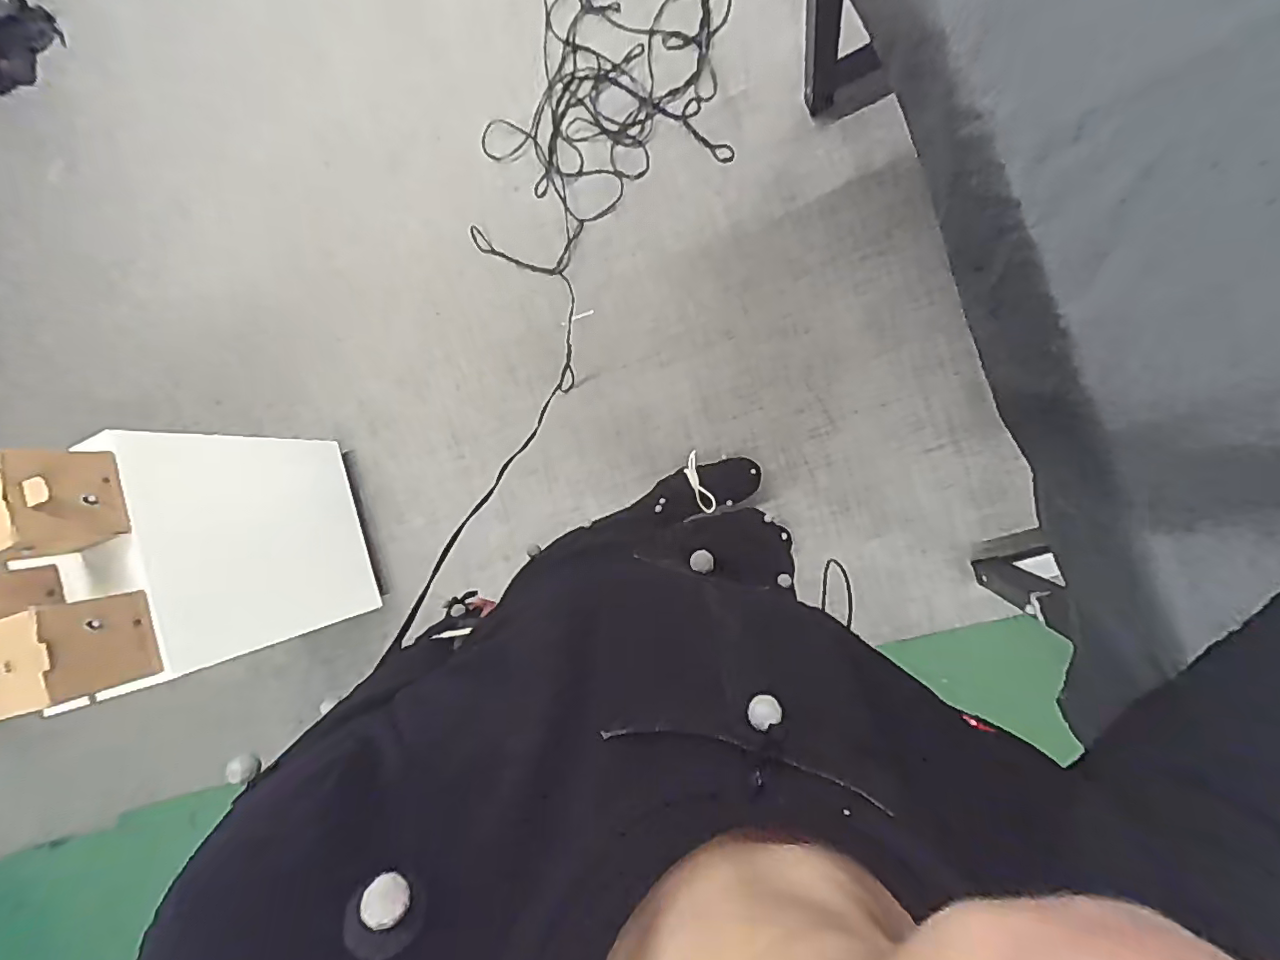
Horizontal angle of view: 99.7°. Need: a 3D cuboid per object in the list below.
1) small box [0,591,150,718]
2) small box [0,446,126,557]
[{"bbox_3d":[-1.030,0.308,0.974,0.179,0.176,0.168,-17,85,17],"label":"small box"},{"bbox_3d":[-1.106,0.043,0.990,0.179,0.176,0.168,-17,87,16],"label":"small box"}]
